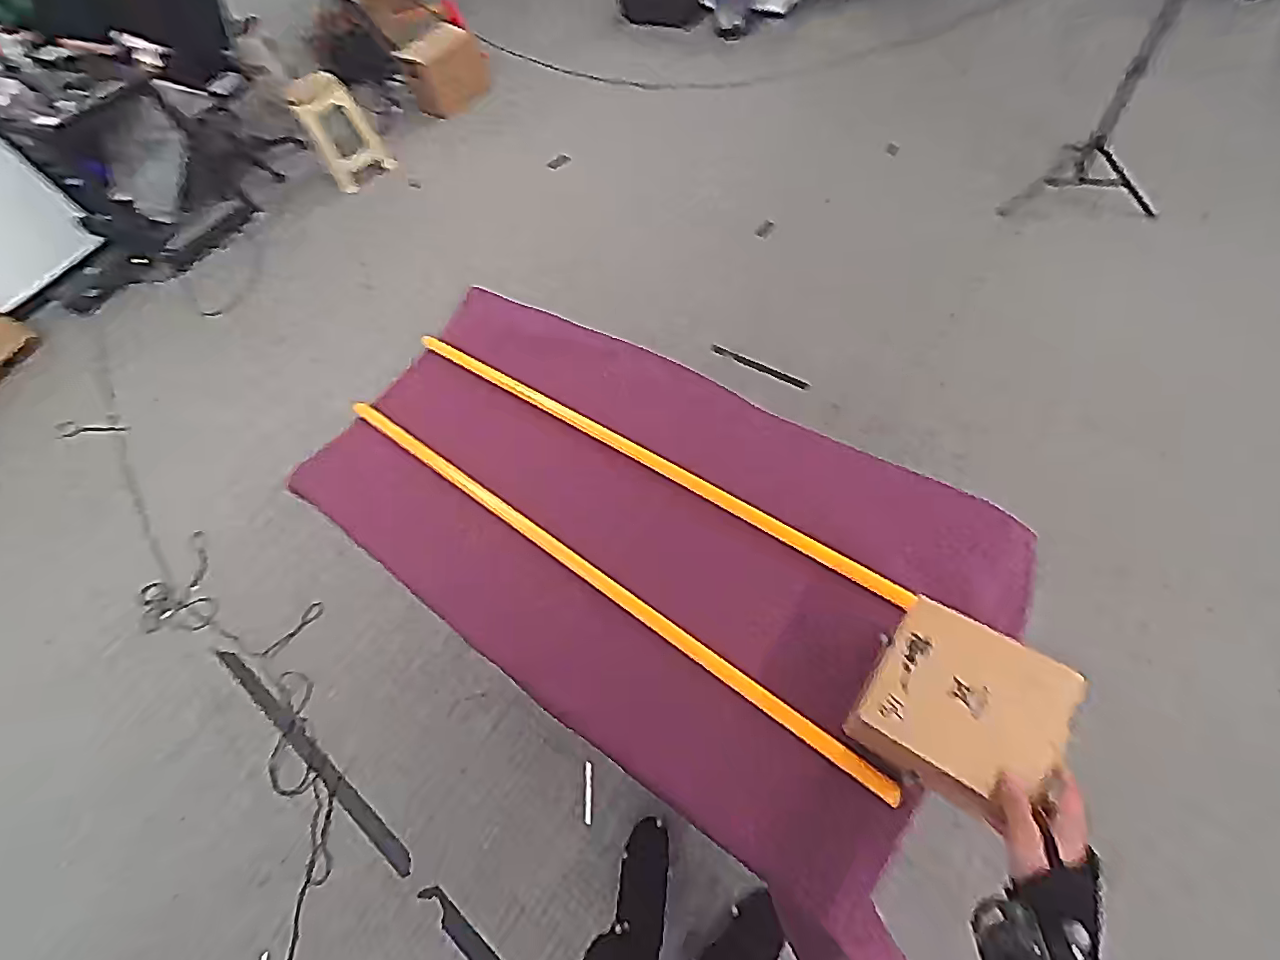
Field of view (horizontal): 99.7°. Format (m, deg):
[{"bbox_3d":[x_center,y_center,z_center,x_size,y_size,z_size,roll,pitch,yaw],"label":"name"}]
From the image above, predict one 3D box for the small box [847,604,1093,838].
[{"bbox_3d":[0.371,0.279,0.640,0.179,0.176,0.168,29,71,26],"label":"small box"}]
